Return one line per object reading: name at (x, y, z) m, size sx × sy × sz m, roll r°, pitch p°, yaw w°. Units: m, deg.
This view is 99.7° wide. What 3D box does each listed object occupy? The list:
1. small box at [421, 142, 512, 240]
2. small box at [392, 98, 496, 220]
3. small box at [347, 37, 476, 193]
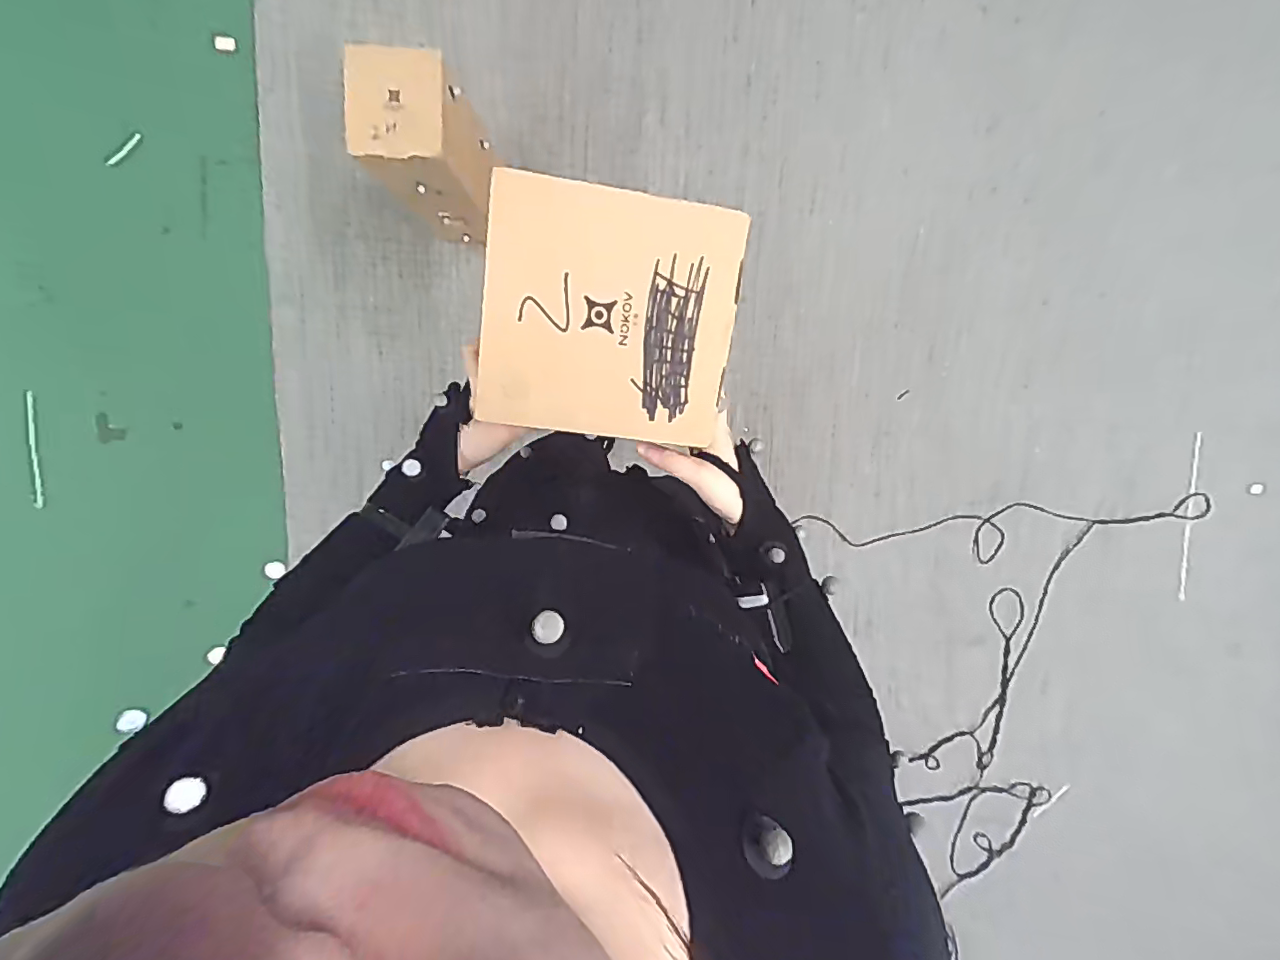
small box at (-0.413, -0.696, 1.306) m, size 0.168 × 0.176 × 0.179 m, roll 5°, pitch 98°, yaw -1°
small box at (-0.408, -0.674, 1.145) m, size 0.168 × 0.176 × 0.179 m, roll 2°, pitch 98°, yaw 0°
small box at (-0.405, -0.651, 0.981) m, size 0.168 × 0.176 × 0.179 m, roll 2°, pitch 97°, yaw 1°
